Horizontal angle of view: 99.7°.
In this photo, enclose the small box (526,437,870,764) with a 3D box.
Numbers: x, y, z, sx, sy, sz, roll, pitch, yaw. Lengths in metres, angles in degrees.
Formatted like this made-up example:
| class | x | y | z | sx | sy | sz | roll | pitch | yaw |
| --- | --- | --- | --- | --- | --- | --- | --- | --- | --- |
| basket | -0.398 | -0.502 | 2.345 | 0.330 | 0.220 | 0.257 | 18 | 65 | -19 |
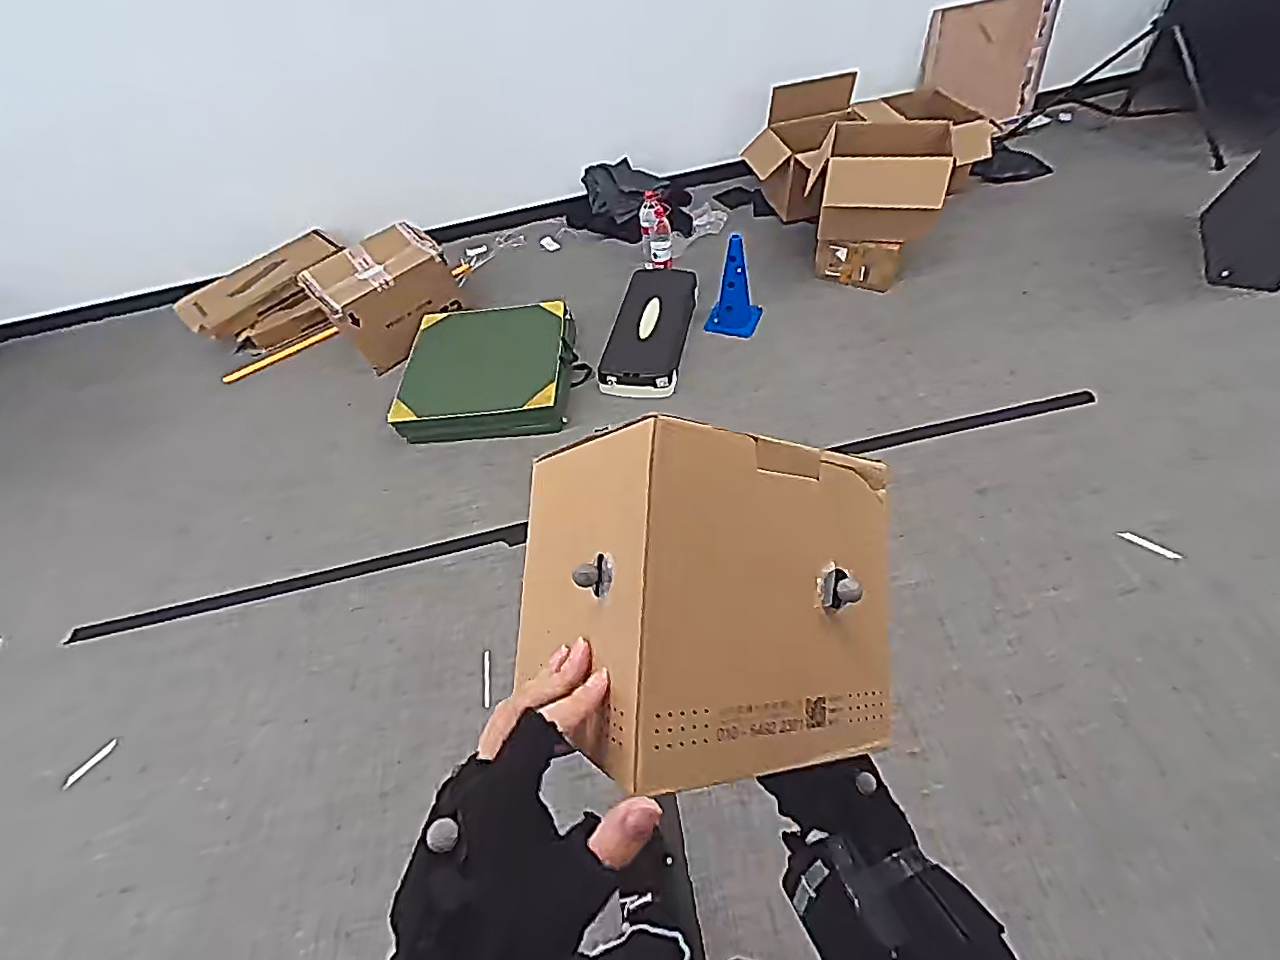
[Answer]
| class | x | y | z | sx | sy | sz | roll | pitch | yaw |
| --- | --- | --- | --- | --- | --- | --- | --- | --- | --- |
| small box | 0.030 | 0.077 | 0.363 | 0.168 | 0.179 | 0.176 | 8 | 80 | -27 |
